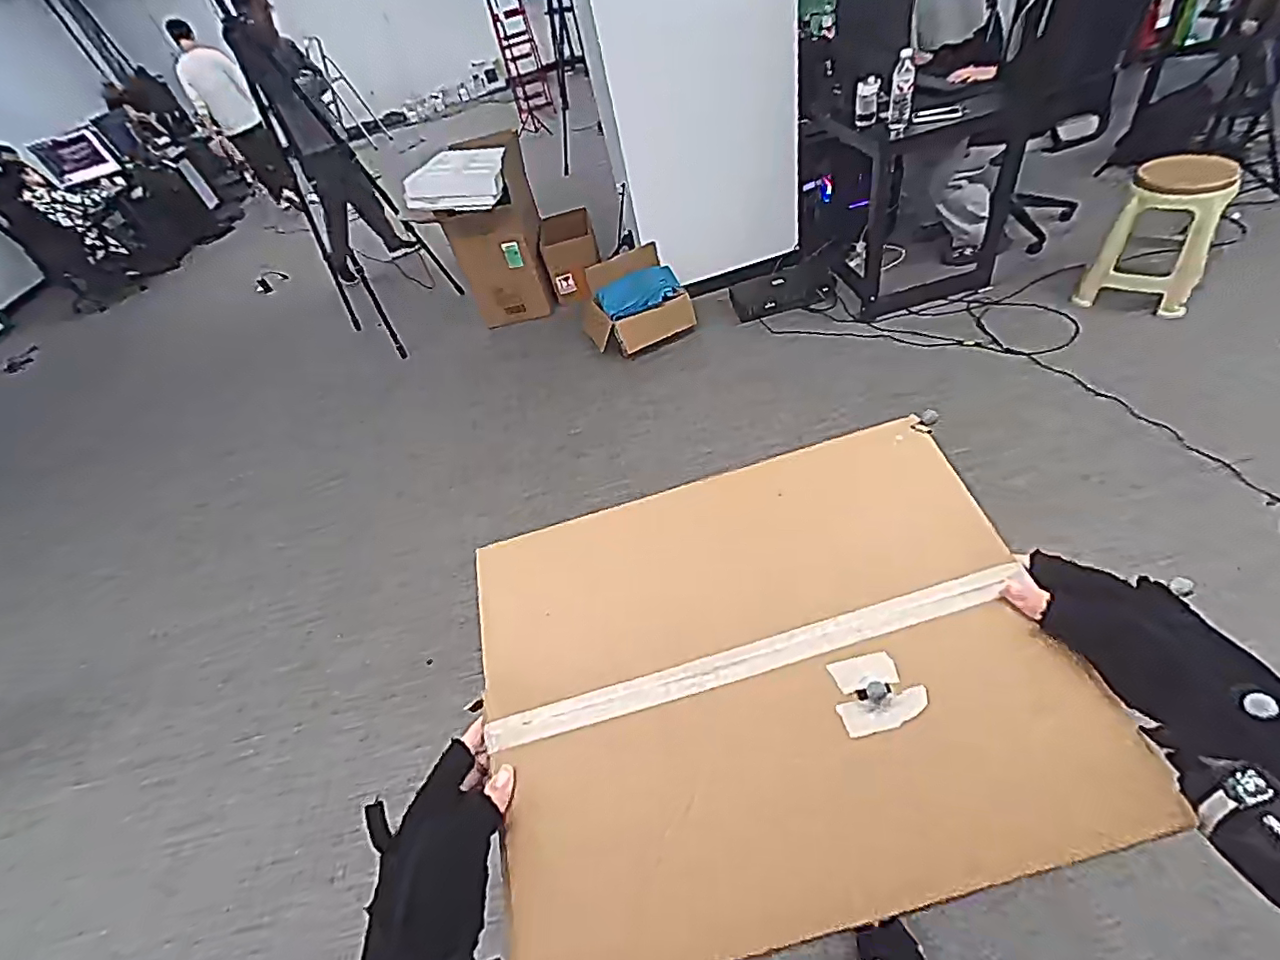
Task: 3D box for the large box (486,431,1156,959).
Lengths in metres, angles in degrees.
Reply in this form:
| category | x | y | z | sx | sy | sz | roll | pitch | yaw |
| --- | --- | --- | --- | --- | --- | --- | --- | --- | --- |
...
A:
| category | x | y | z | sx | sy | sz | roll | pitch | yaw |
| --- | --- | --- | --- | --- | --- | --- | --- | --- | --- |
| large box | 0.111 | 0.215 | 0.529 | 0.408 | 0.320 | 0.320 | -18 | 57 | 0 |
